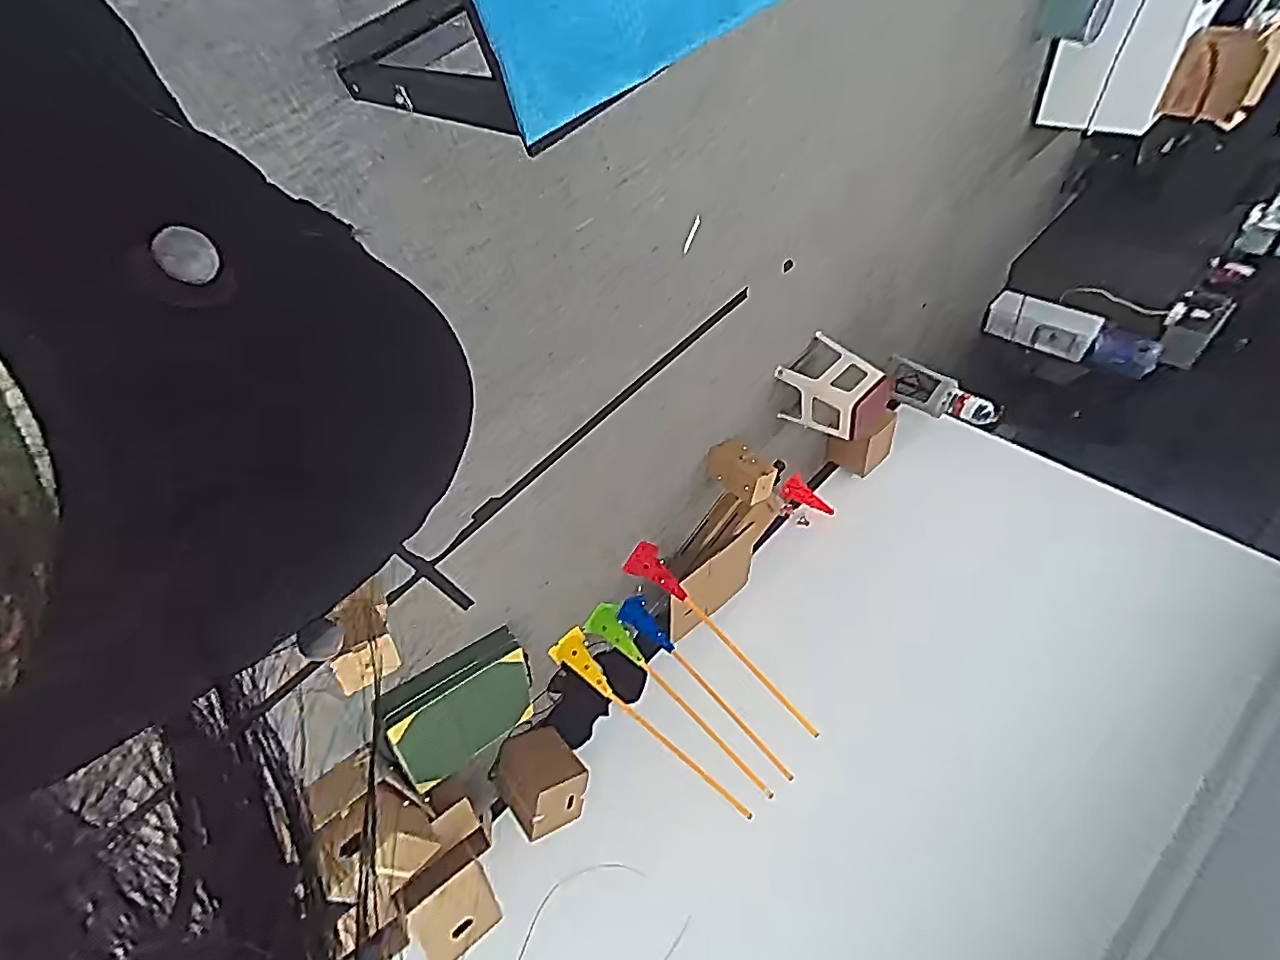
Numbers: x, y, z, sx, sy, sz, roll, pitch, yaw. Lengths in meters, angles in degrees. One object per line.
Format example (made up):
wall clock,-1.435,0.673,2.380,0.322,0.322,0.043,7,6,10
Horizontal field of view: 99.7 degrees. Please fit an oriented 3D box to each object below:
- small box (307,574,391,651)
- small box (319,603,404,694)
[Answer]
small box,-0.936,0.416,1.731,0.168,0.176,0.179,12,111,-52
small box,-0.838,0.495,1.623,0.168,0.176,0.179,-24,136,-31
